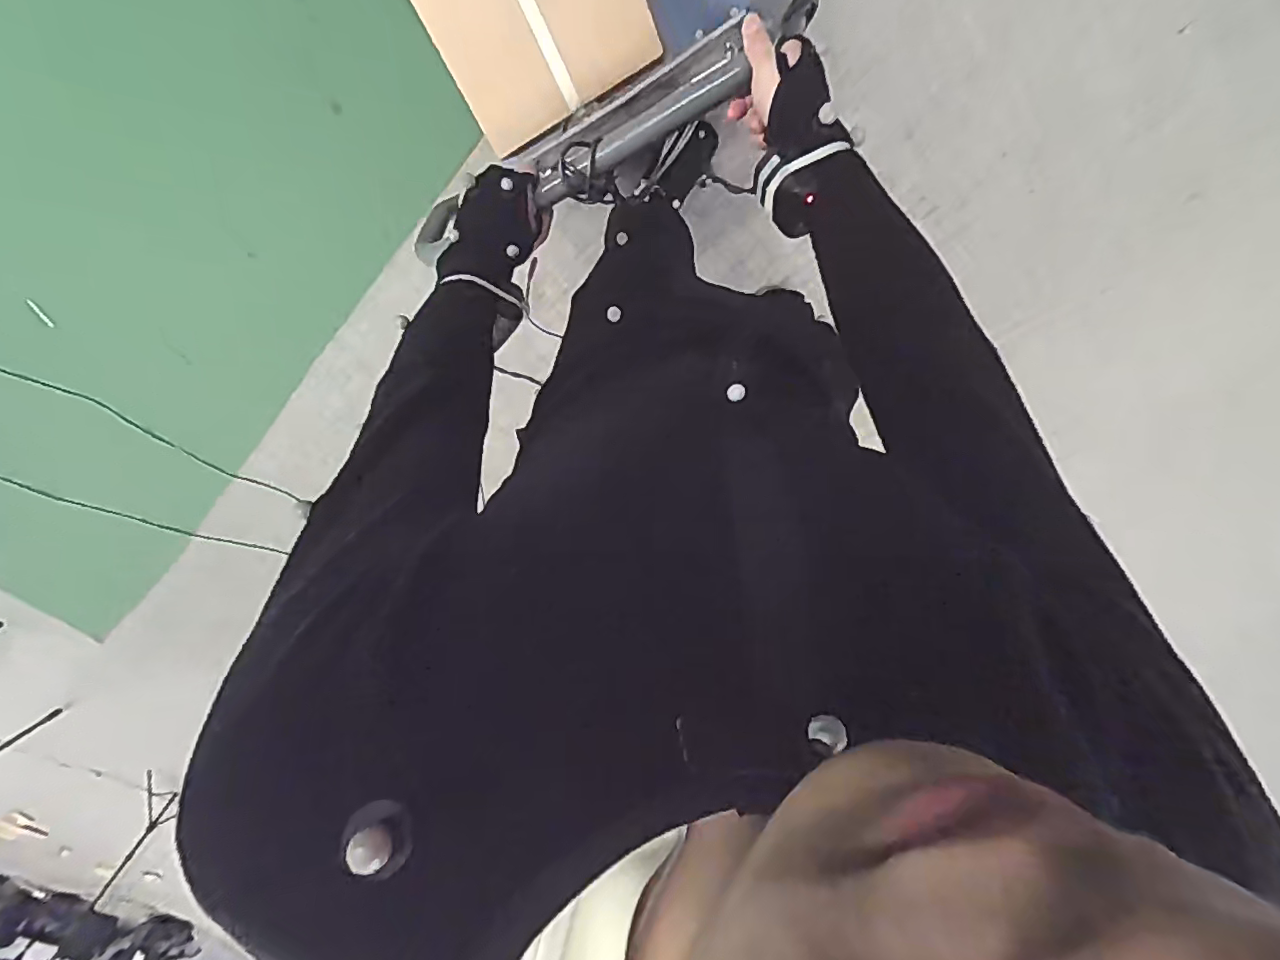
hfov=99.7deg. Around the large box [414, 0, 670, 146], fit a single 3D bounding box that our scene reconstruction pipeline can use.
[{"bbox_3d":[-0.177,-0.834,0.876,0.320,0.320,0.408,-19,120,19],"label":"large box"}]
